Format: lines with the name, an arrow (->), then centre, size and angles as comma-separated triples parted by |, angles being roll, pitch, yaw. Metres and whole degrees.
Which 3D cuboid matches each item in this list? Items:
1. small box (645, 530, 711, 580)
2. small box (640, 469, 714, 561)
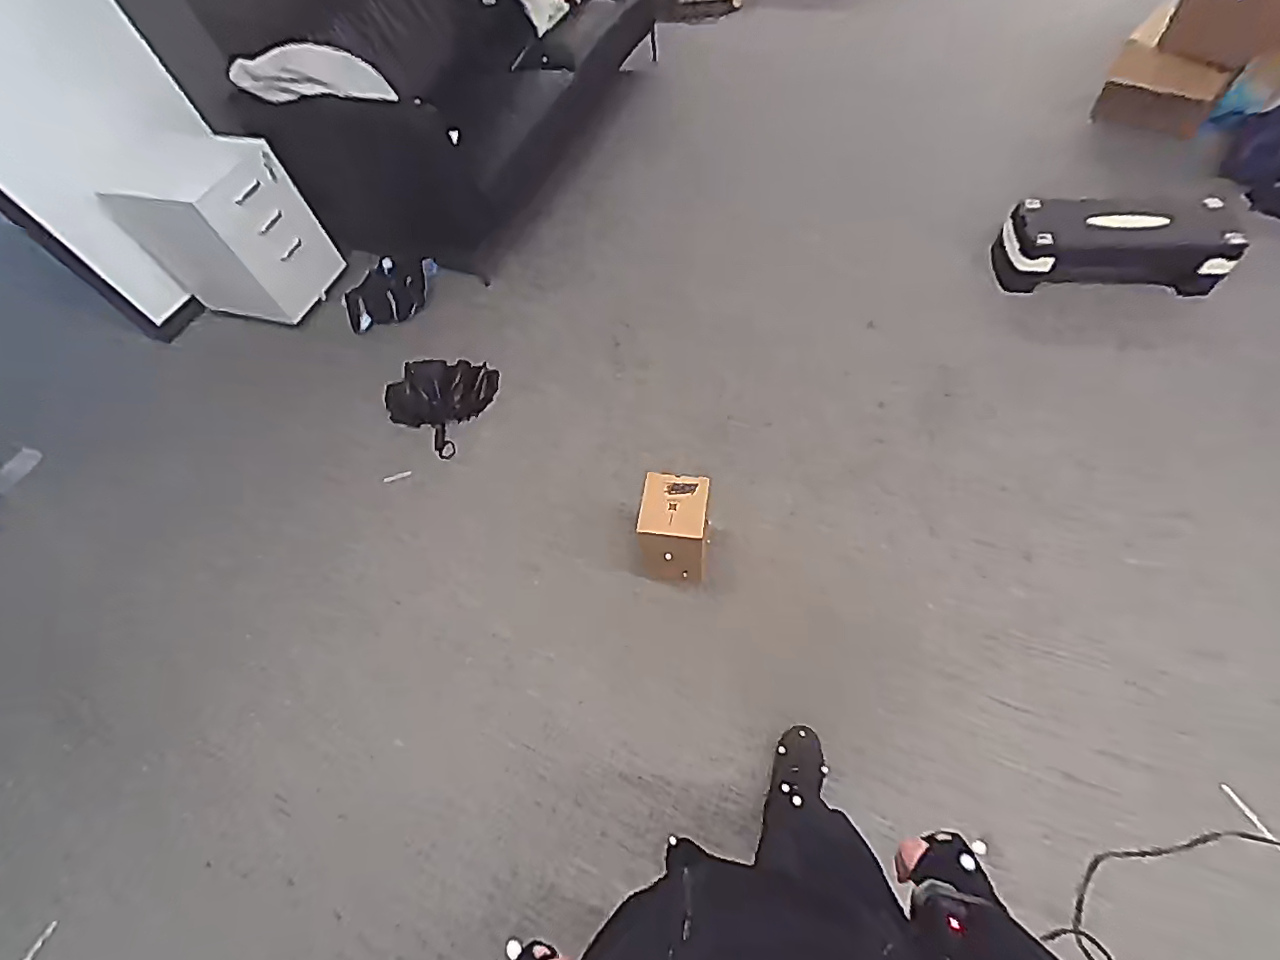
small box -> 0.115, 0.175, 1.560 | 0.168, 0.176, 0.179 | 5, 59, 10
small box -> 0.101, 0.094, 1.417 | 0.168, 0.176, 0.179 | 5, 61, 11
